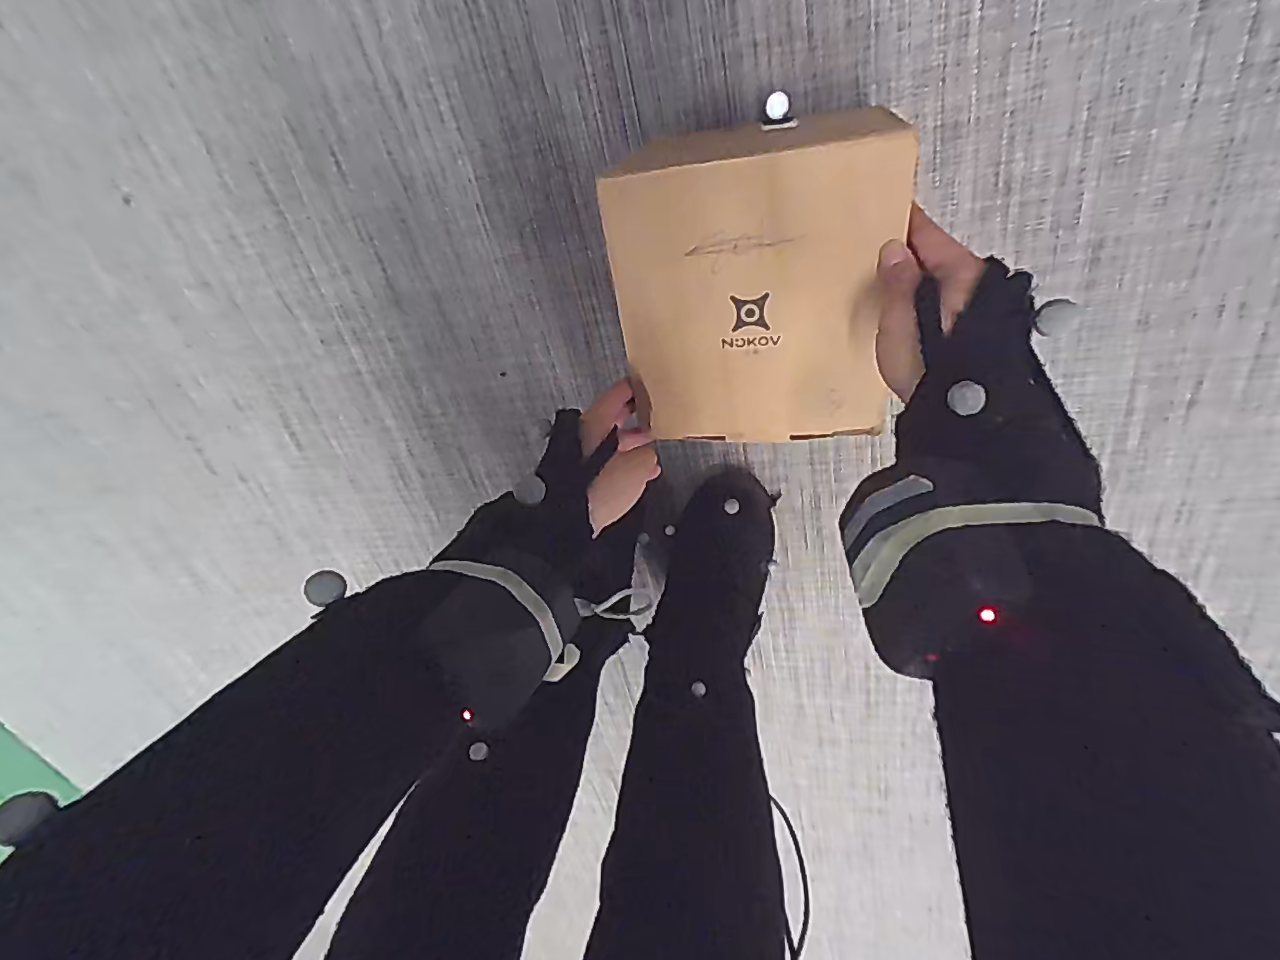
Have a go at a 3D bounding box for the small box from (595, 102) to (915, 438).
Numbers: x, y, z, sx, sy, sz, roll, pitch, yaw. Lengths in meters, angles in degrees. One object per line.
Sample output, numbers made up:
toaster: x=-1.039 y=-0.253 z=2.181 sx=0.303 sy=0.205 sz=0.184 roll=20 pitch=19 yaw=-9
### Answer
small box: x=0.083 y=-0.148 z=0.387 sx=0.168 sy=0.176 sz=0.179 roll=-1 pitch=126 yaw=15
